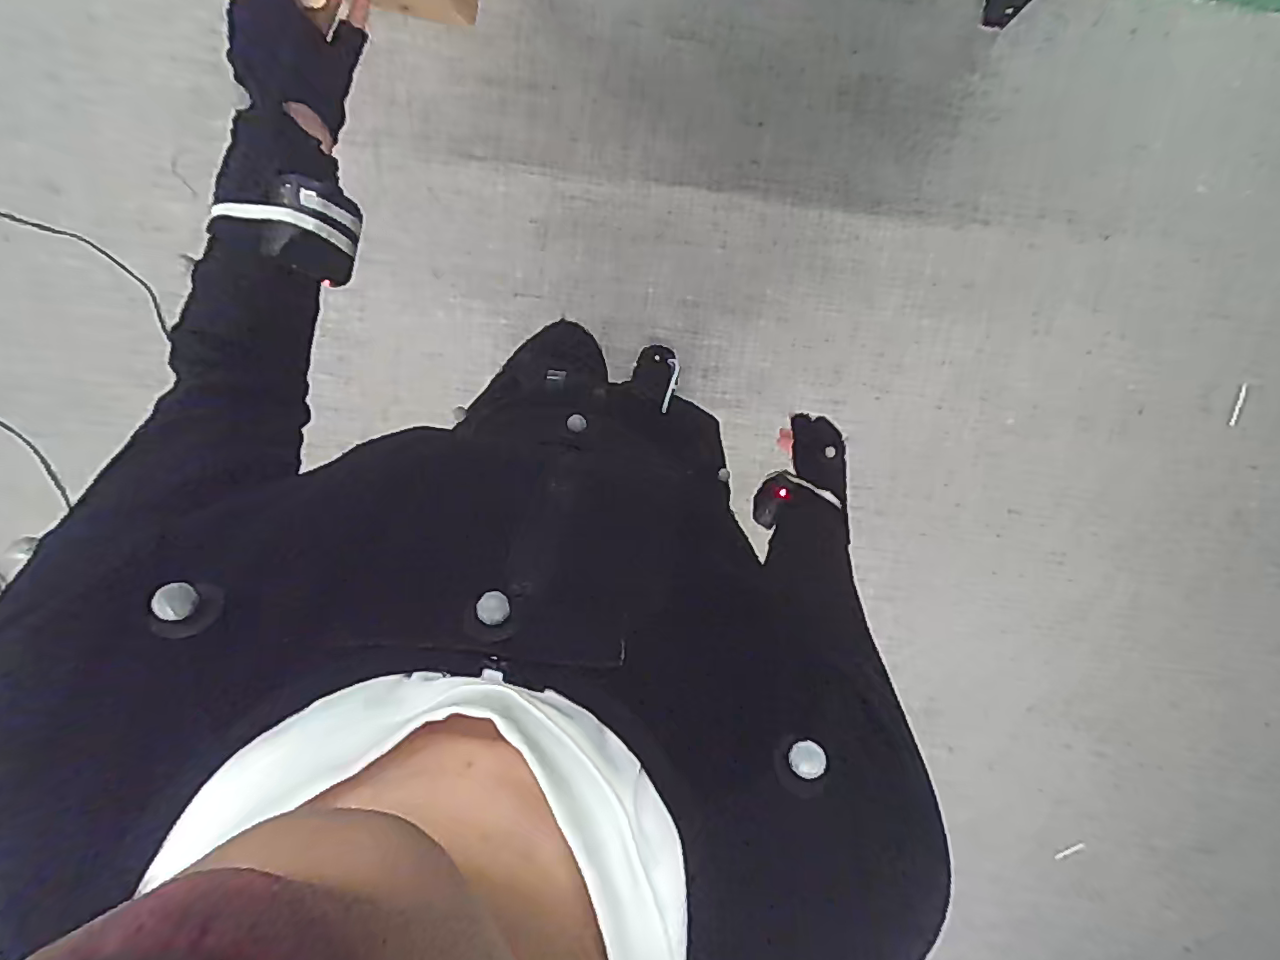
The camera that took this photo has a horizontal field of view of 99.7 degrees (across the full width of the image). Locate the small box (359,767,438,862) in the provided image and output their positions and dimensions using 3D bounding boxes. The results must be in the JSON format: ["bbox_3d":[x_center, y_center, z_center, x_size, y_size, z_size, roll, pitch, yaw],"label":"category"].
[{"bbox_3d":[-0.720,0.988,1.609,0.179,0.176,0.168,9,102,-1],"label":"small box"}]

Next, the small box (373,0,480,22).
[{"bbox_3d":[-0.222,-0.501,0.415,0.168,0.176,0.179,10,116,-3],"label":"small box"}]
